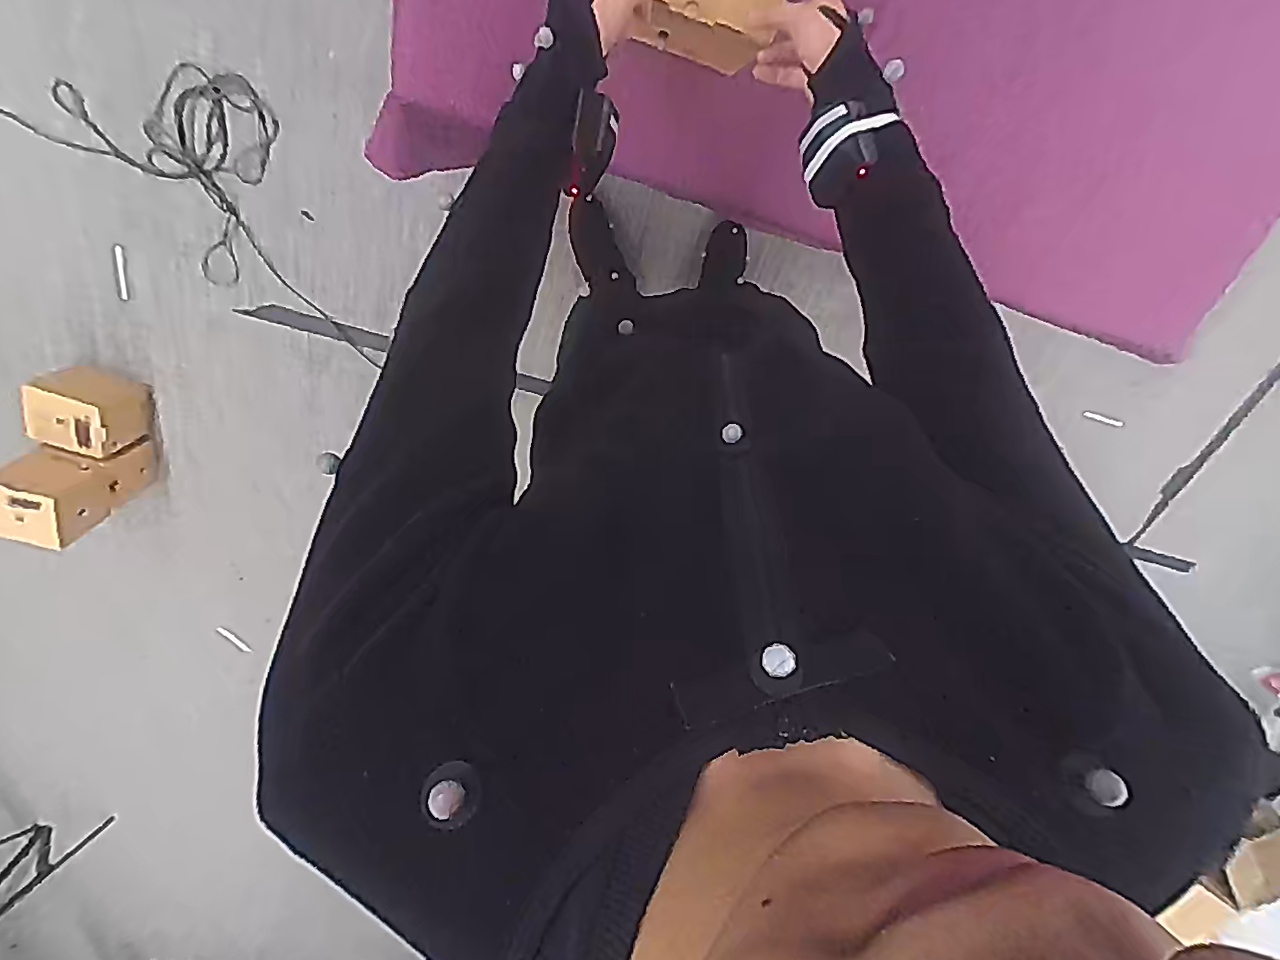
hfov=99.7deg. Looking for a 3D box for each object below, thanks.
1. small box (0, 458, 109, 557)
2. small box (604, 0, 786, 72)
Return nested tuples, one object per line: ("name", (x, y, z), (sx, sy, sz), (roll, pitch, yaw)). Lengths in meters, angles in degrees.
("small box", (-1.558, 0.067, 1.421), (0.168, 0.176, 0.179), (18, 118, -13))
("small box", (0.062, -0.539, 0.529), (0.168, 0.176, 0.179), (11, 118, -12))
